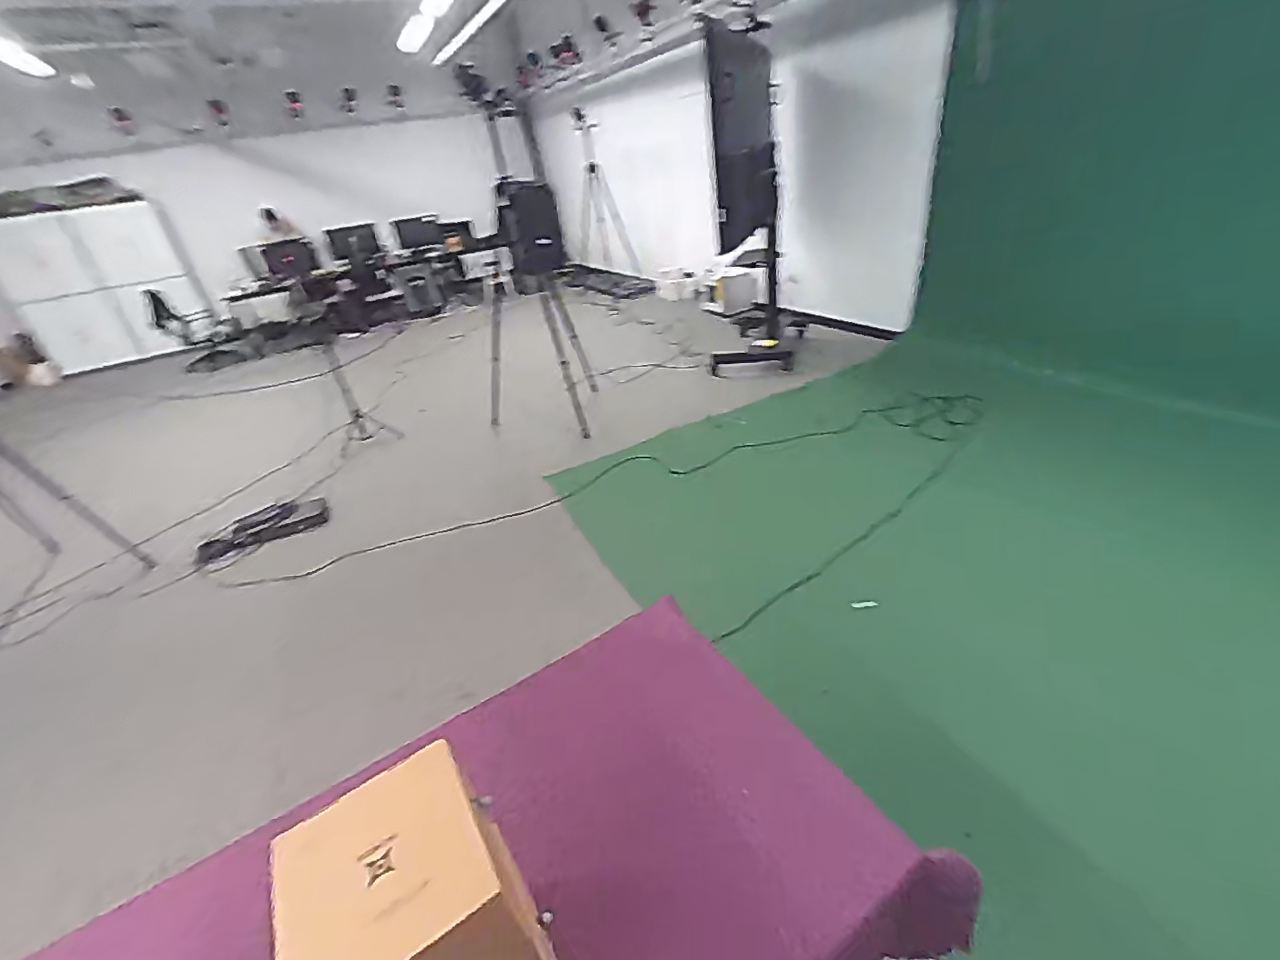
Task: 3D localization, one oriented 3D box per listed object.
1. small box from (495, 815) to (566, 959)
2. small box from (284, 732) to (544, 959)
[{"bbox_3d":[-0.188,0.536,0.605,0.179,0.176,0.168,-25,34,-23],"label":"small box"},{"bbox_3d":[-0.213,0.398,0.521,0.168,0.176,0.179,-26,36,-24],"label":"small box"}]
